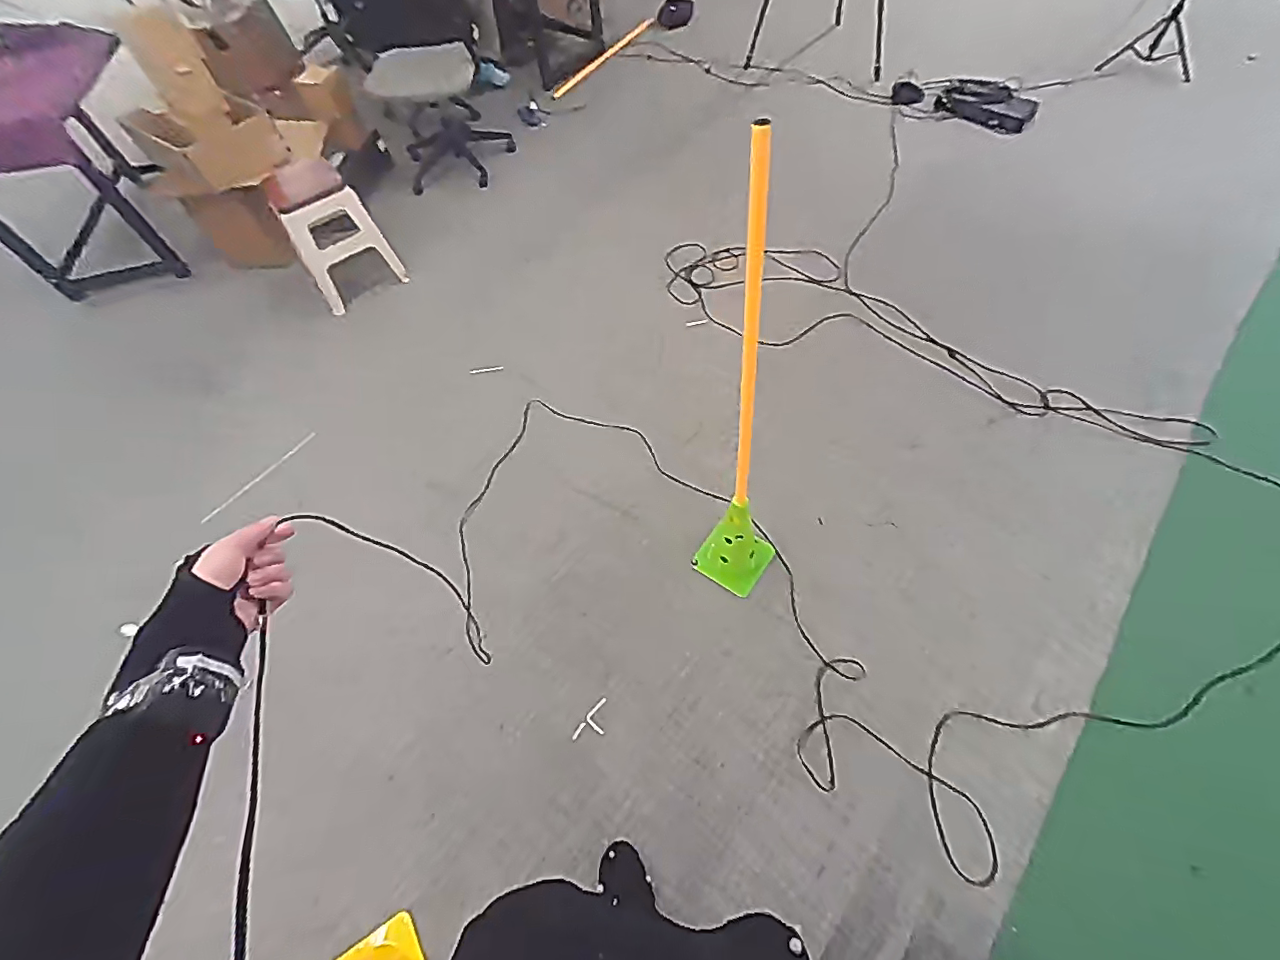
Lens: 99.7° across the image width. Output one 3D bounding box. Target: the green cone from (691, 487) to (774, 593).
[{"bbox_3d":[0.273,0.135,1.516,0.200,0.368,0.202,30,64,21],"label":"green cone"}]
